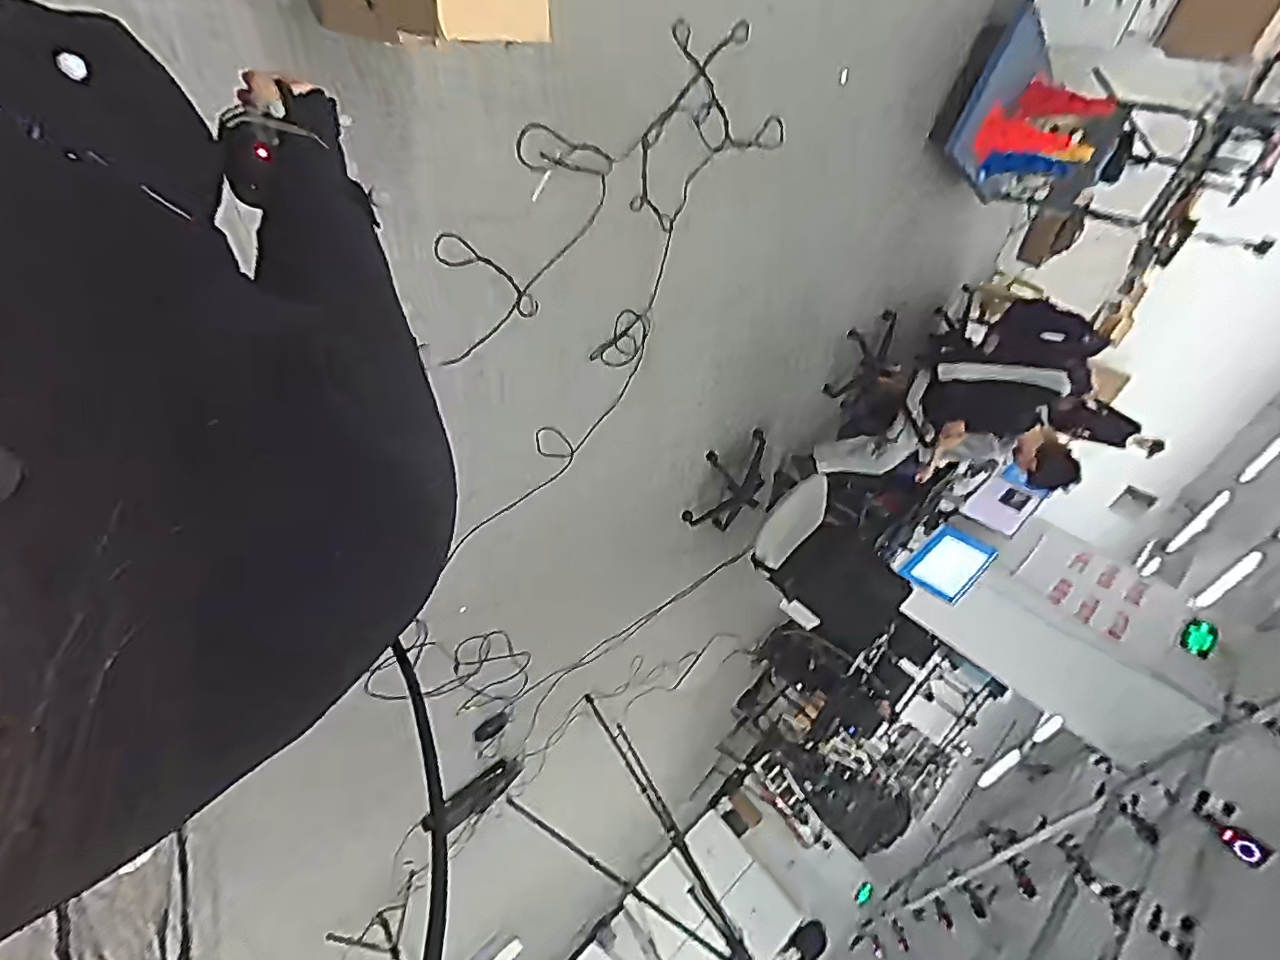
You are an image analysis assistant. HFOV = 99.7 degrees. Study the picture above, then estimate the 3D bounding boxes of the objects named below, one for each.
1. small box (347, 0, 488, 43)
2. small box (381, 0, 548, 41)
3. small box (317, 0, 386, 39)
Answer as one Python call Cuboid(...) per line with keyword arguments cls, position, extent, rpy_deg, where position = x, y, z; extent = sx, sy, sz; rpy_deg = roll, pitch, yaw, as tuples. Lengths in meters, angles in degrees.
Cuboid(cls="small box", position=(-0.357, -0.797, 0.837), extent=(0.168, 0.176, 0.179), rpy_deg=(-30, 140, -30))
Cuboid(cls="small box", position=(-0.249, -0.717, 0.742), extent=(0.179, 0.176, 0.168), rpy_deg=(-29, 140, -31))
Cuboid(cls="small box", position=(-0.461, -0.881, 0.931), extent=(0.168, 0.176, 0.179), rpy_deg=(-28, 141, -32))
